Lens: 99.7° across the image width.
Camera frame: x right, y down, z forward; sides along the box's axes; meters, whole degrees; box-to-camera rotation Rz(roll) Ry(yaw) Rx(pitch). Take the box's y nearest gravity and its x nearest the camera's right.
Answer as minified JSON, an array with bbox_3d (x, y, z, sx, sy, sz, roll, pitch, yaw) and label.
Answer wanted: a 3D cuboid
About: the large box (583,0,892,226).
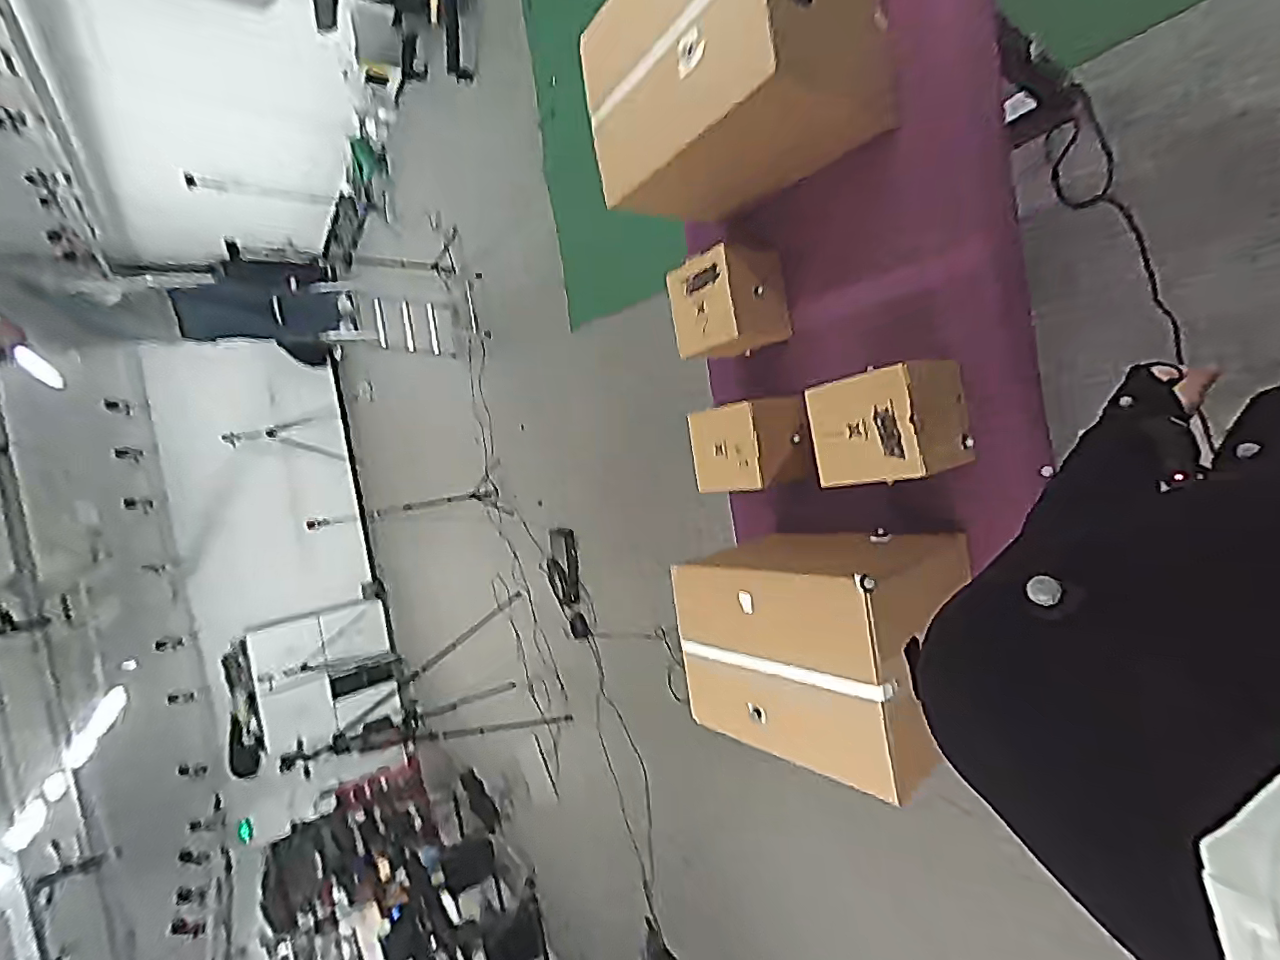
[{"bbox_3d":[0.153,-0.691,0.935,0.408,0.320,0.320,-5,97,53],"label":"large box"}]
